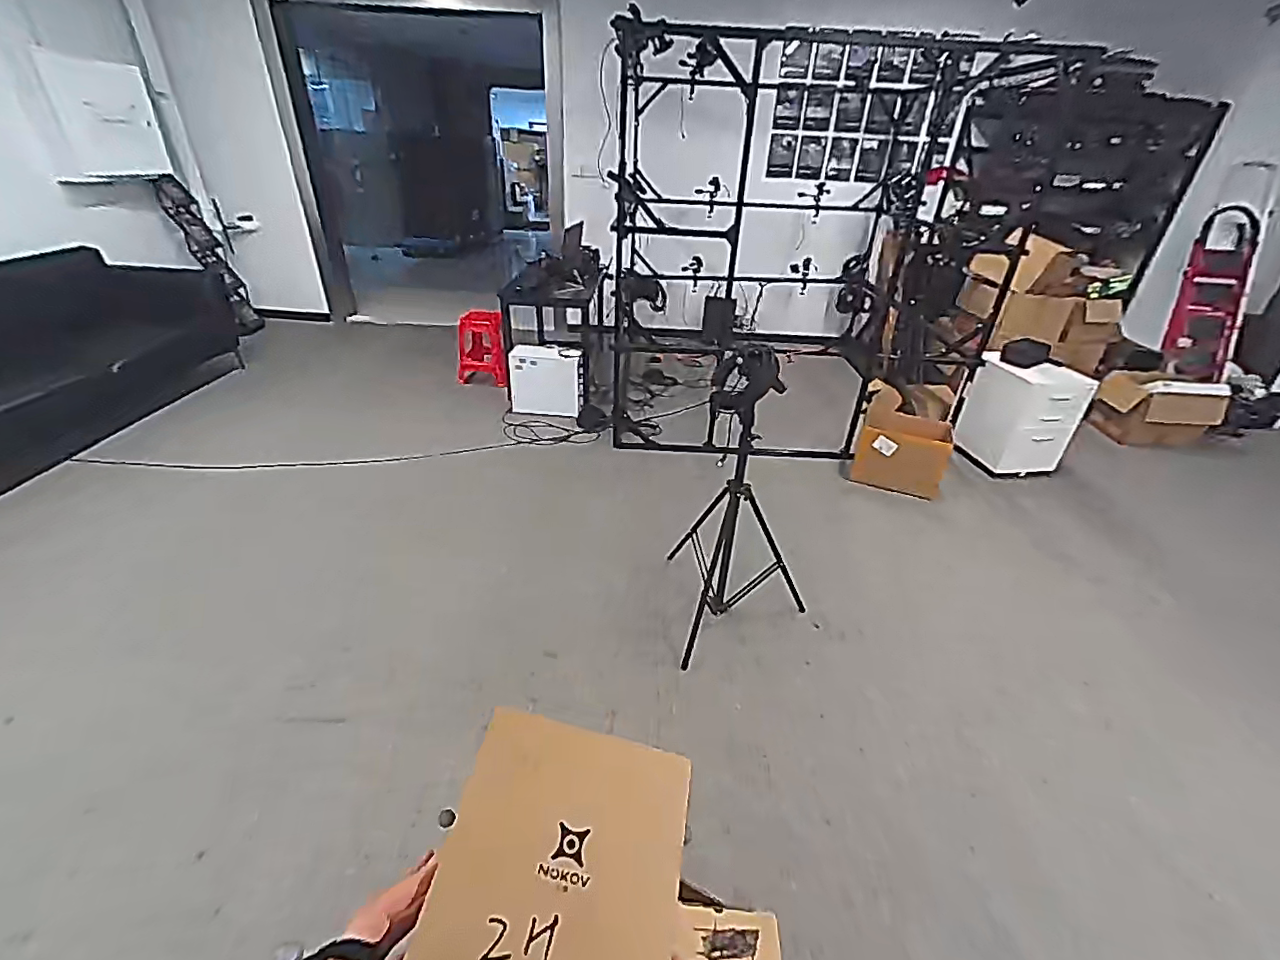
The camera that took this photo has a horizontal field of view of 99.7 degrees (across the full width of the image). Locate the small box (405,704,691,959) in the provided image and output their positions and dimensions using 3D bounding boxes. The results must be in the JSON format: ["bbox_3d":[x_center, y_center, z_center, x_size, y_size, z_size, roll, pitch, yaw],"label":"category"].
[{"bbox_3d":[-0.069,0.314,0.431,0.168,0.176,0.179,17,46,-3],"label":"small box"}]

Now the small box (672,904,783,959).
[{"bbox_3d":[0.100,0.716,0.729,0.168,0.176,0.179,5,33,1],"label":"small box"}]
